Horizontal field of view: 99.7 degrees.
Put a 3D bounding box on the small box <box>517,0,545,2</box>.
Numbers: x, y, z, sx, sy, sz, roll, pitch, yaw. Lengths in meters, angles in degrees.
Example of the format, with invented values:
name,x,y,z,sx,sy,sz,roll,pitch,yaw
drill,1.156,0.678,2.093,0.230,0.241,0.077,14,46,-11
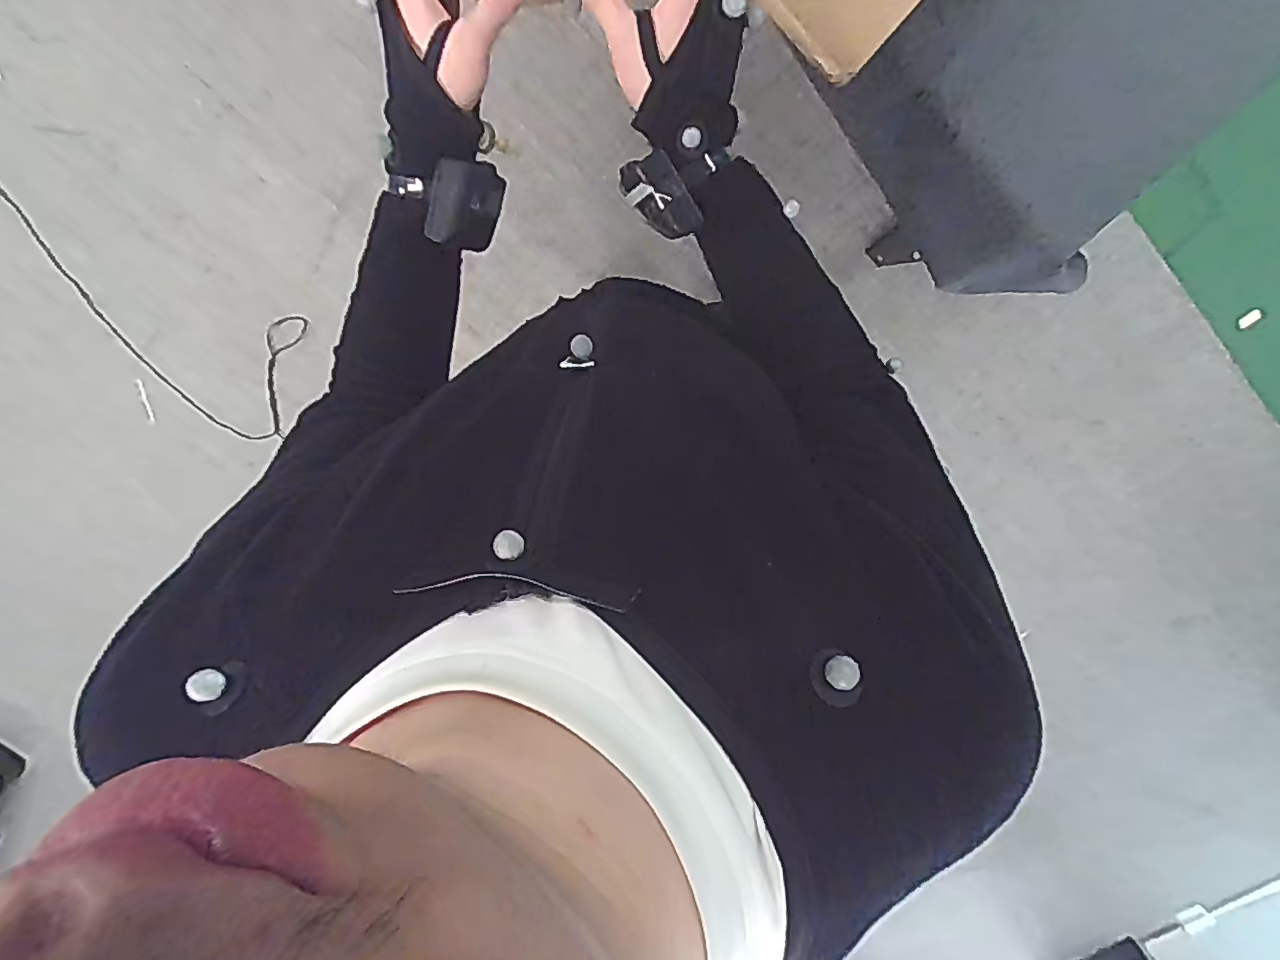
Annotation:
name,x,y,z,sx,sy,sz,roll,pitch,yaw
small box,-0.056,-0.455,0.367,0.168,0.176,0.179,-1,124,9
